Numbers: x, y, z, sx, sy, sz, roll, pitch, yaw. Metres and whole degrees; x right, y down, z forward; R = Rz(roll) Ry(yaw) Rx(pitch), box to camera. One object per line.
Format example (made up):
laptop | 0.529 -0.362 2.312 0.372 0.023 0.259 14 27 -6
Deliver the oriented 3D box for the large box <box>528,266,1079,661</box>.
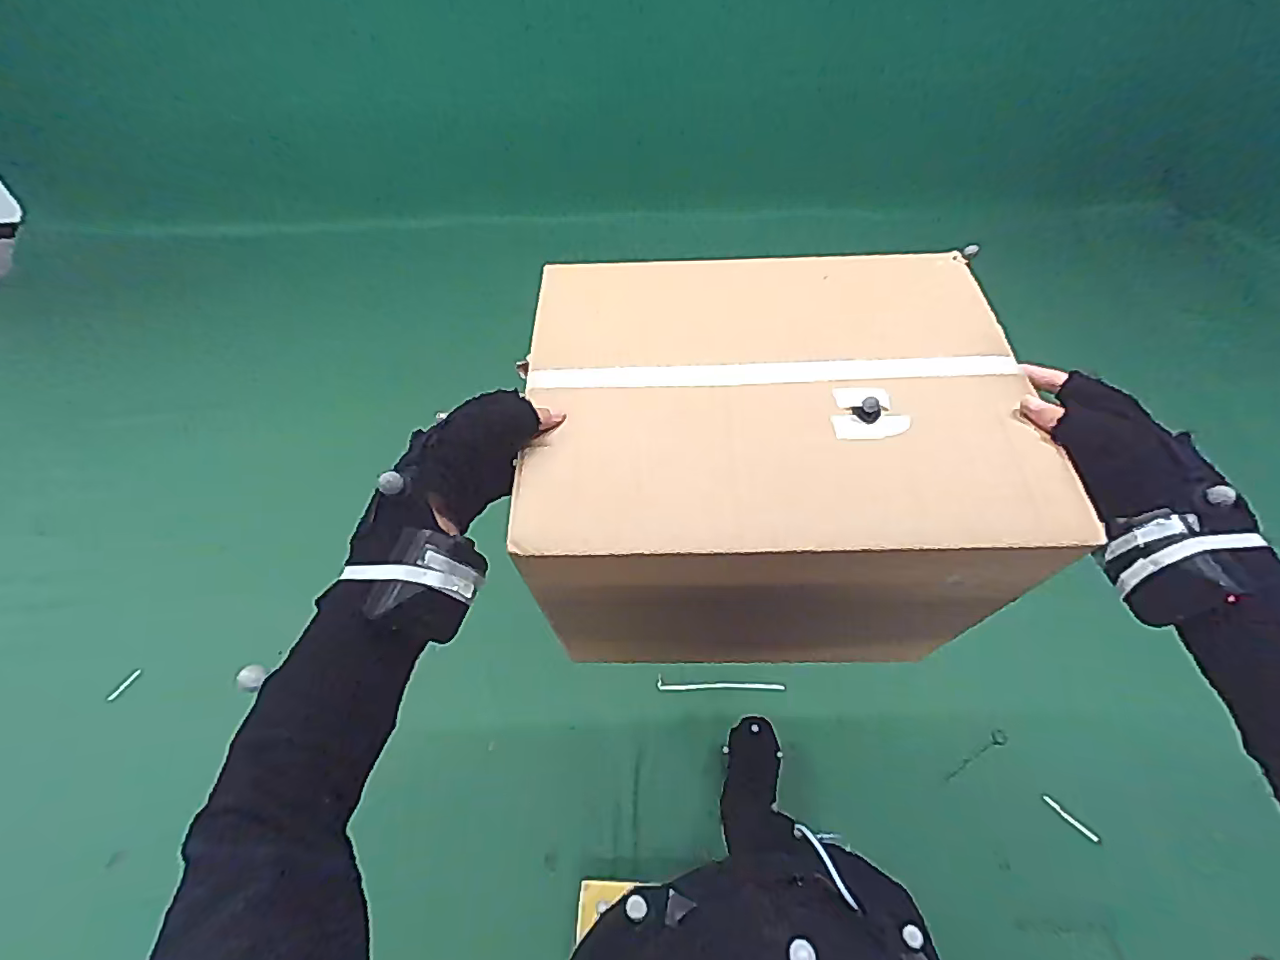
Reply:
large box | 0.114 -0.002 0.587 0.408 0.320 0.320 -1 58 1
